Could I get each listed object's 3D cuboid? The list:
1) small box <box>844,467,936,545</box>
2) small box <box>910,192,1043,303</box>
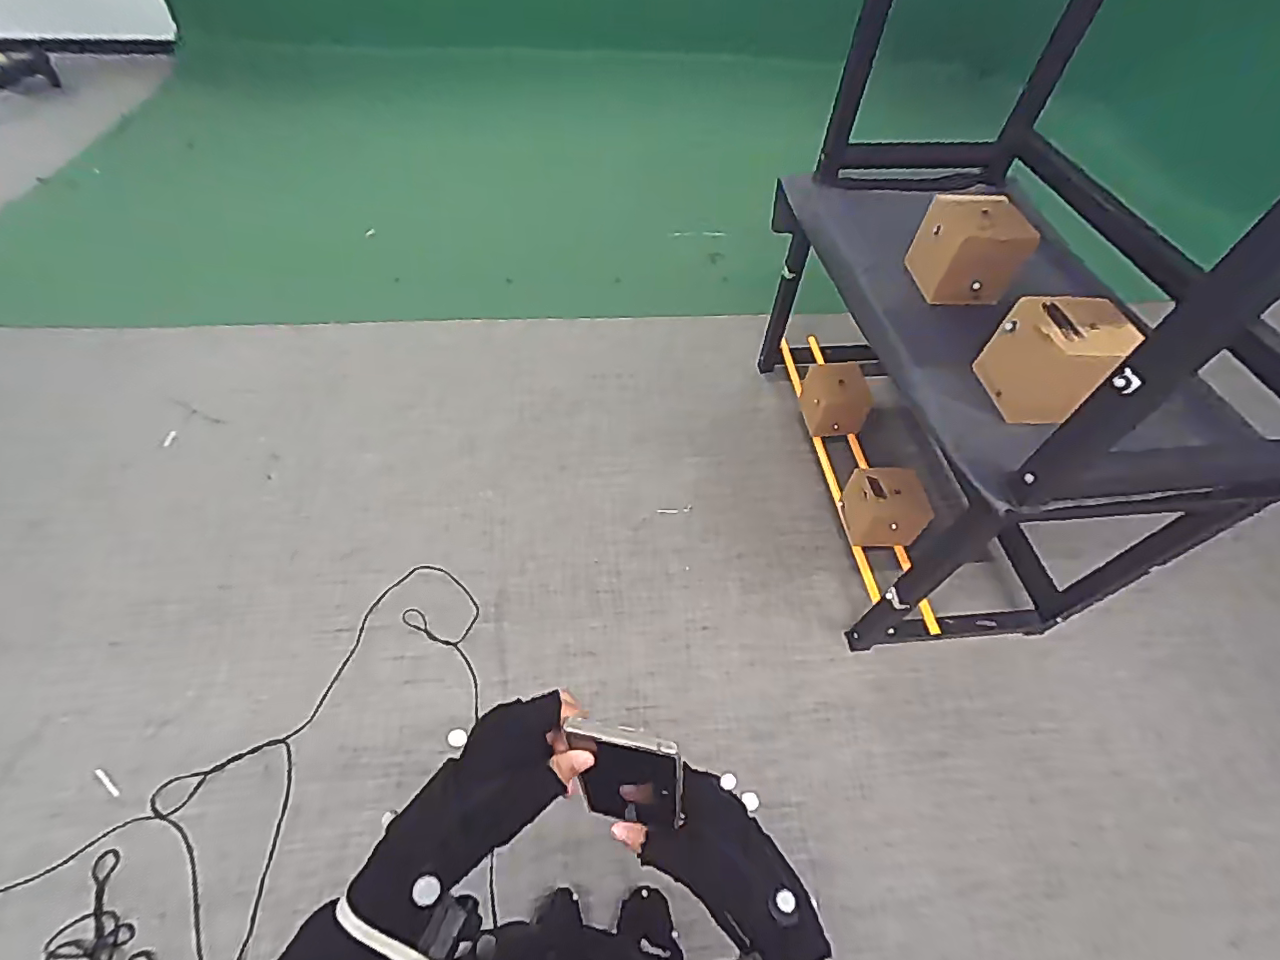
[{"bbox_3d":[0.704,0.078,1.552,0.179,0.176,0.168,-1,54,-2],"label":"small box"},{"bbox_3d":[0.744,-0.525,1.223,0.168,0.176,0.179,-1,54,-3],"label":"small box"}]
